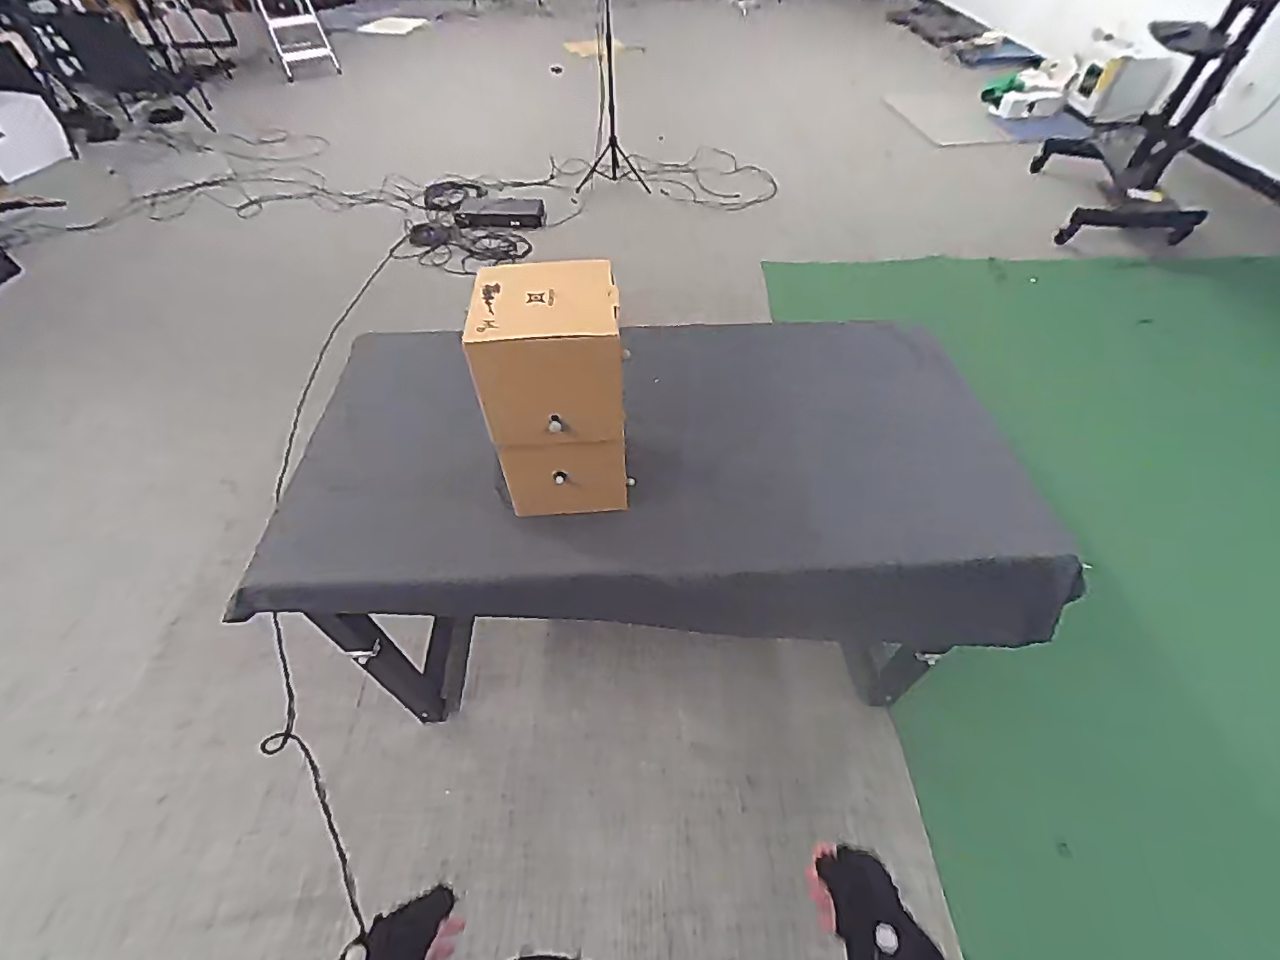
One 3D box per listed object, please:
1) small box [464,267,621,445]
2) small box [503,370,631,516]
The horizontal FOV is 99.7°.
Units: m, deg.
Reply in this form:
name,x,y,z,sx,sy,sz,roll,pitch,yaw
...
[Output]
name,x,y,z,sx,sy,sz,roll,pitch,yaw
small box,-0.115,-0.161,0.715,0.179,0.176,0.168,-3,50,-3
small box,-0.110,-0.060,0.844,0.179,0.176,0.168,-5,51,-5
